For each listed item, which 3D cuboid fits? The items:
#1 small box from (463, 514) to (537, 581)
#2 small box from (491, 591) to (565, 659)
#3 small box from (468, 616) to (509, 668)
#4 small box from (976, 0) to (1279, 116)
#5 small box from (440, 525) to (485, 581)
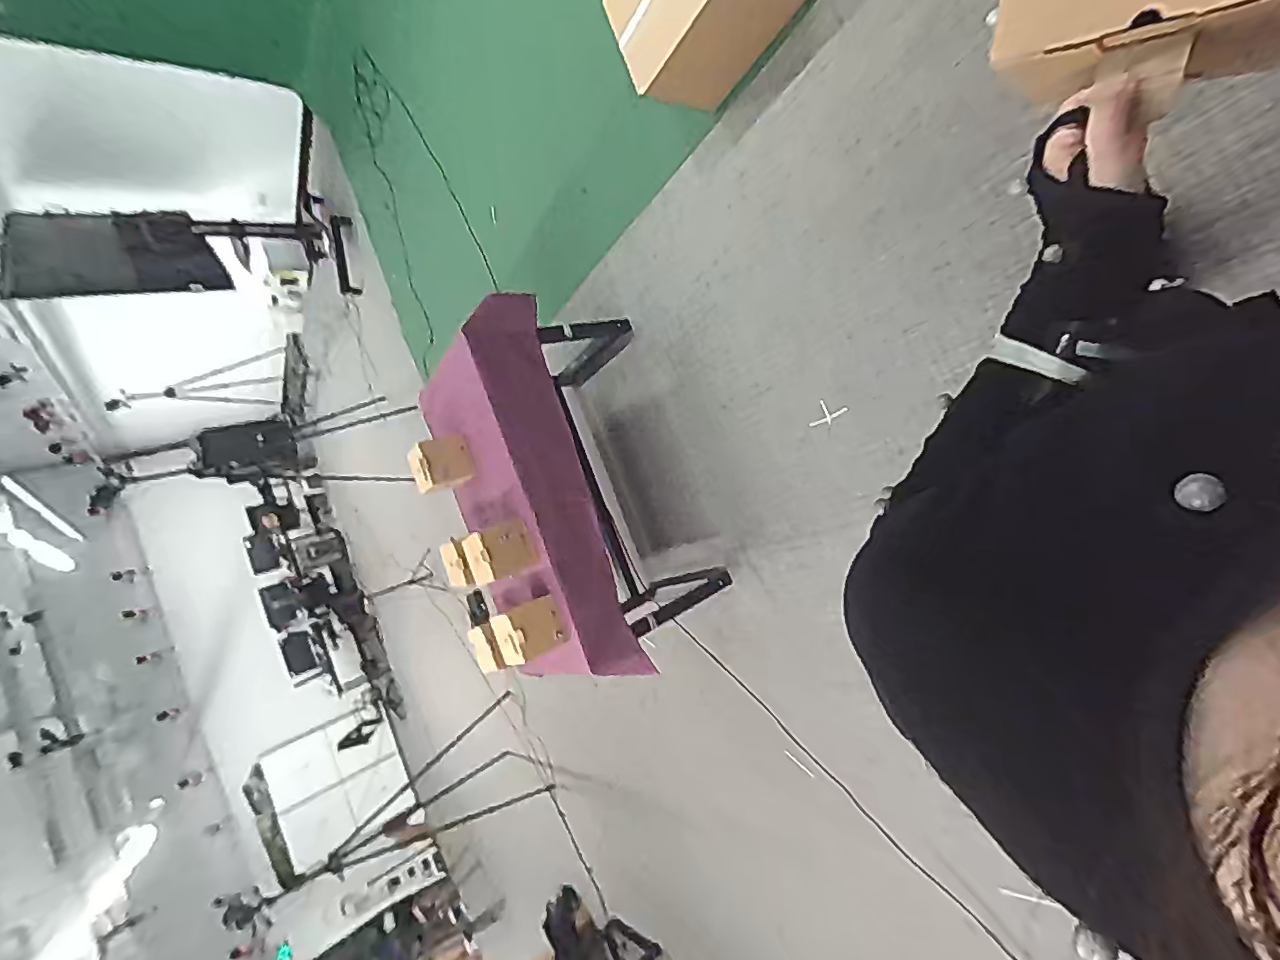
[{"bbox_3d":[-0.466,0.225,1.815,0.179,0.176,0.168,-26,83,53],"label":"small box"},{"bbox_3d":[-0.366,0.480,1.793,0.179,0.176,0.168,-28,82,53],"label":"small box"},{"bbox_3d":[-0.511,0.579,2.010,0.179,0.176,0.168,-32,78,50],"label":"small box"},{"bbox_3d":[0.356,-0.380,0.369,0.168,0.176,0.179,15,117,41],"label":"small box"},{"bbox_3d":[-0.618,0.271,2.016,0.179,0.176,0.168,-15,93,52],"label":"small box"}]
